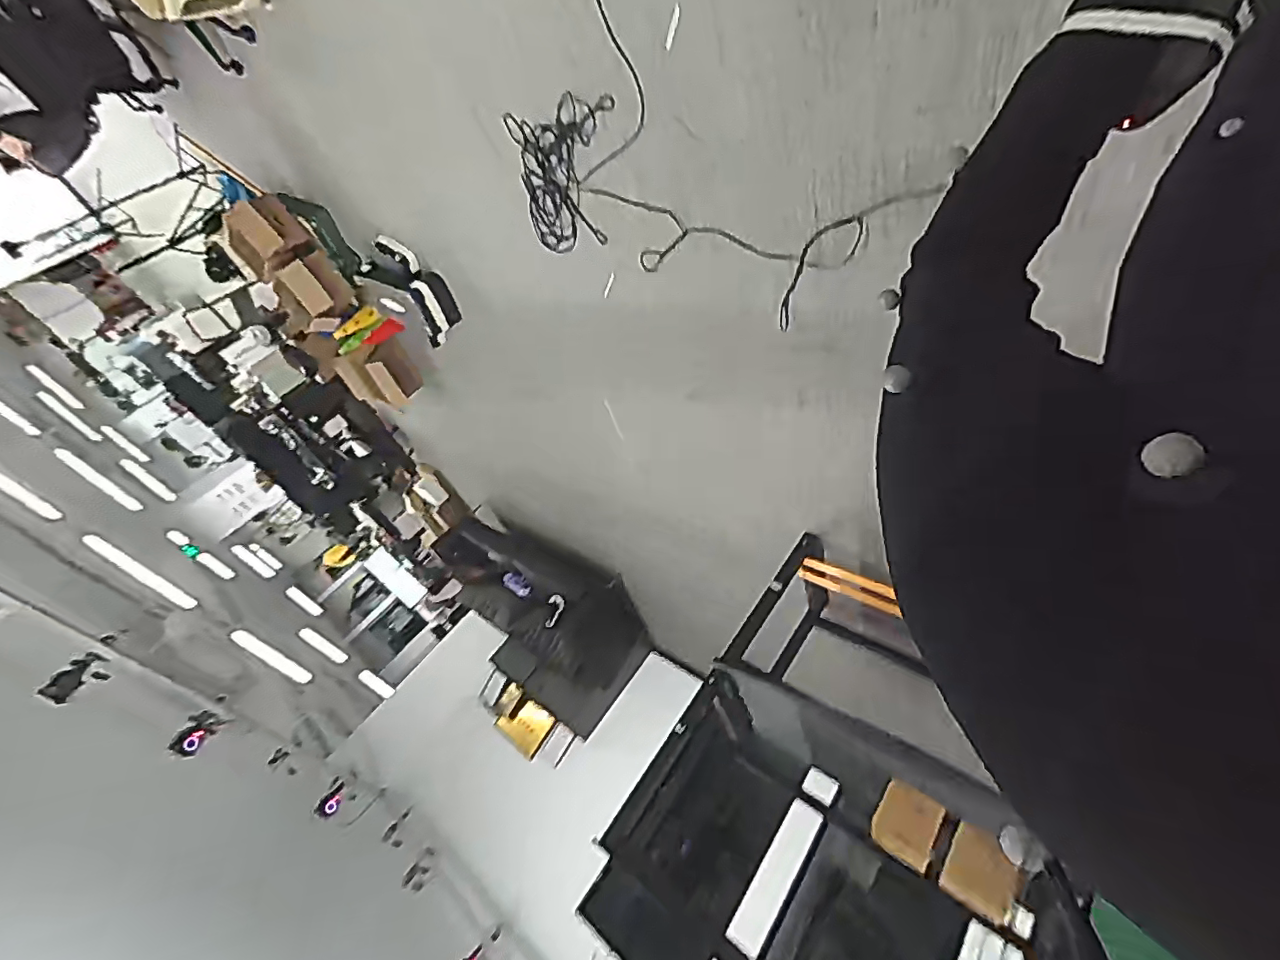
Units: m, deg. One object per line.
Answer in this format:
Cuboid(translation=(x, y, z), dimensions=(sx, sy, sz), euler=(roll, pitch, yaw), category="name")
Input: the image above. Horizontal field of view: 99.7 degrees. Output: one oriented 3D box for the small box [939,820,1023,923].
Cuboid(translation=(1.006, 1.154, 1.598), dimensions=(0.168, 0.176, 0.179), euler=(20, 146, 39), category="small box")
